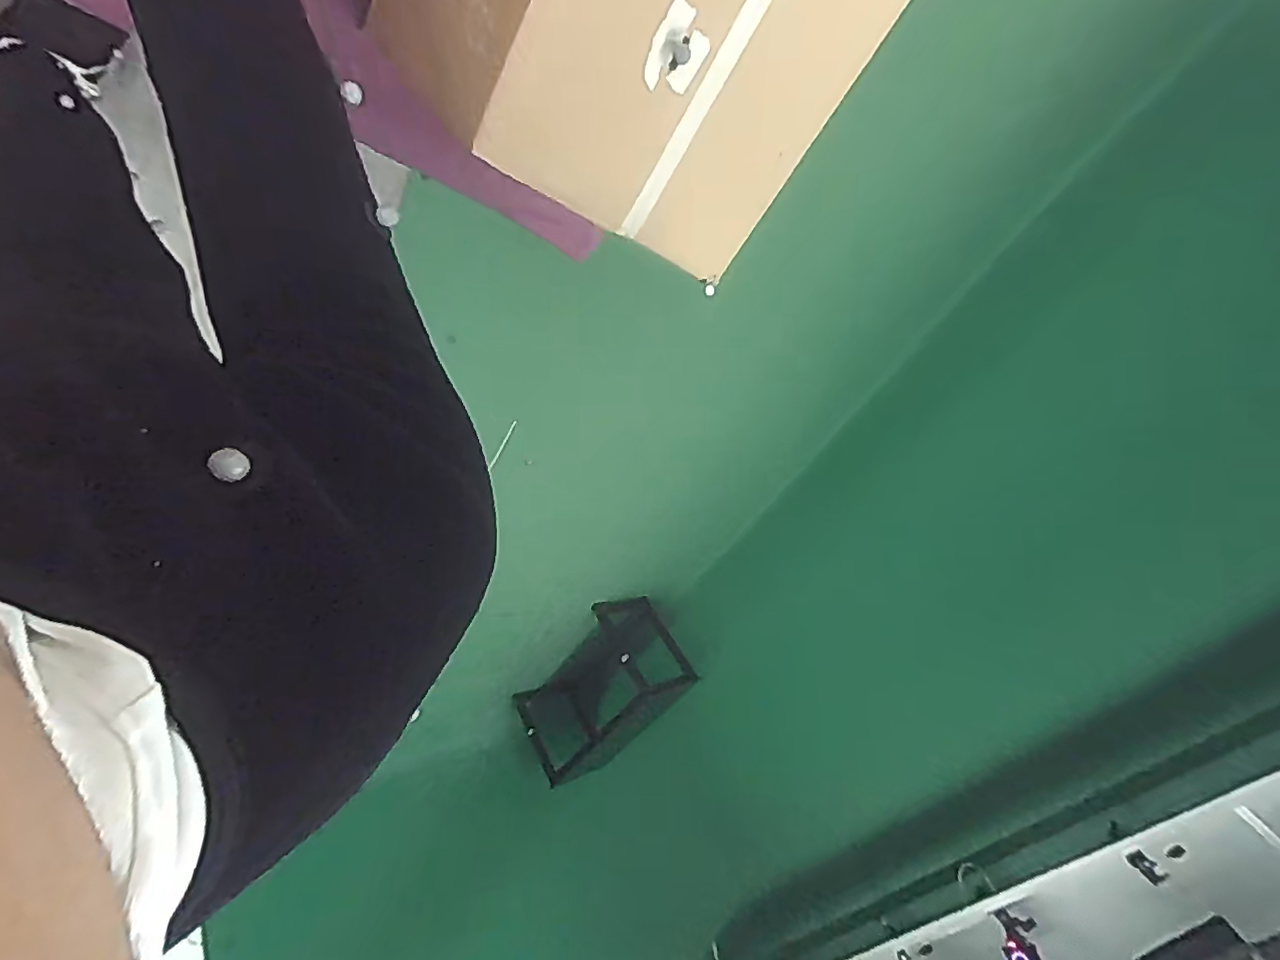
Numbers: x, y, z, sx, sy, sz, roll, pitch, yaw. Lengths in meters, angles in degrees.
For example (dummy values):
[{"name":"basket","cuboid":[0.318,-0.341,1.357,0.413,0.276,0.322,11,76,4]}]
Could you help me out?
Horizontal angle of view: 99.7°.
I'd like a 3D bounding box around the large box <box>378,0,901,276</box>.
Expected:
[{"name":"large box","cuboid":[0.012,-0.484,0.495,0.320,0.320,0.408,4,132,-48]}]
